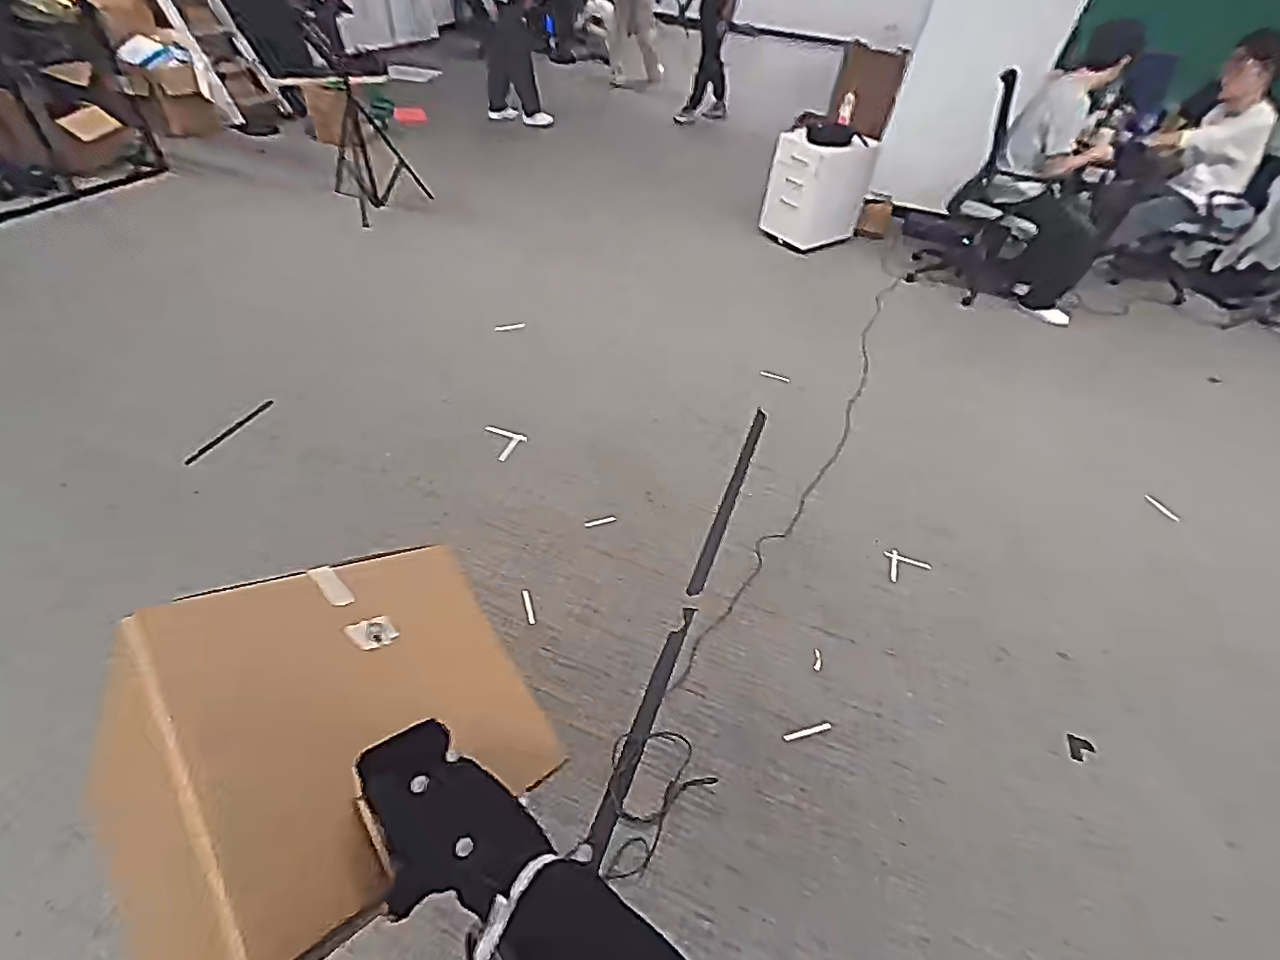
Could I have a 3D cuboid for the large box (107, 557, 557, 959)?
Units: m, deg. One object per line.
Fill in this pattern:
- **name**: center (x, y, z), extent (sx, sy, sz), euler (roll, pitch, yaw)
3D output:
- **large box**: center (-0.377, 0.351, 0.643), extent (0.320, 0.408, 0.320), euler (-7, 55, -53)
